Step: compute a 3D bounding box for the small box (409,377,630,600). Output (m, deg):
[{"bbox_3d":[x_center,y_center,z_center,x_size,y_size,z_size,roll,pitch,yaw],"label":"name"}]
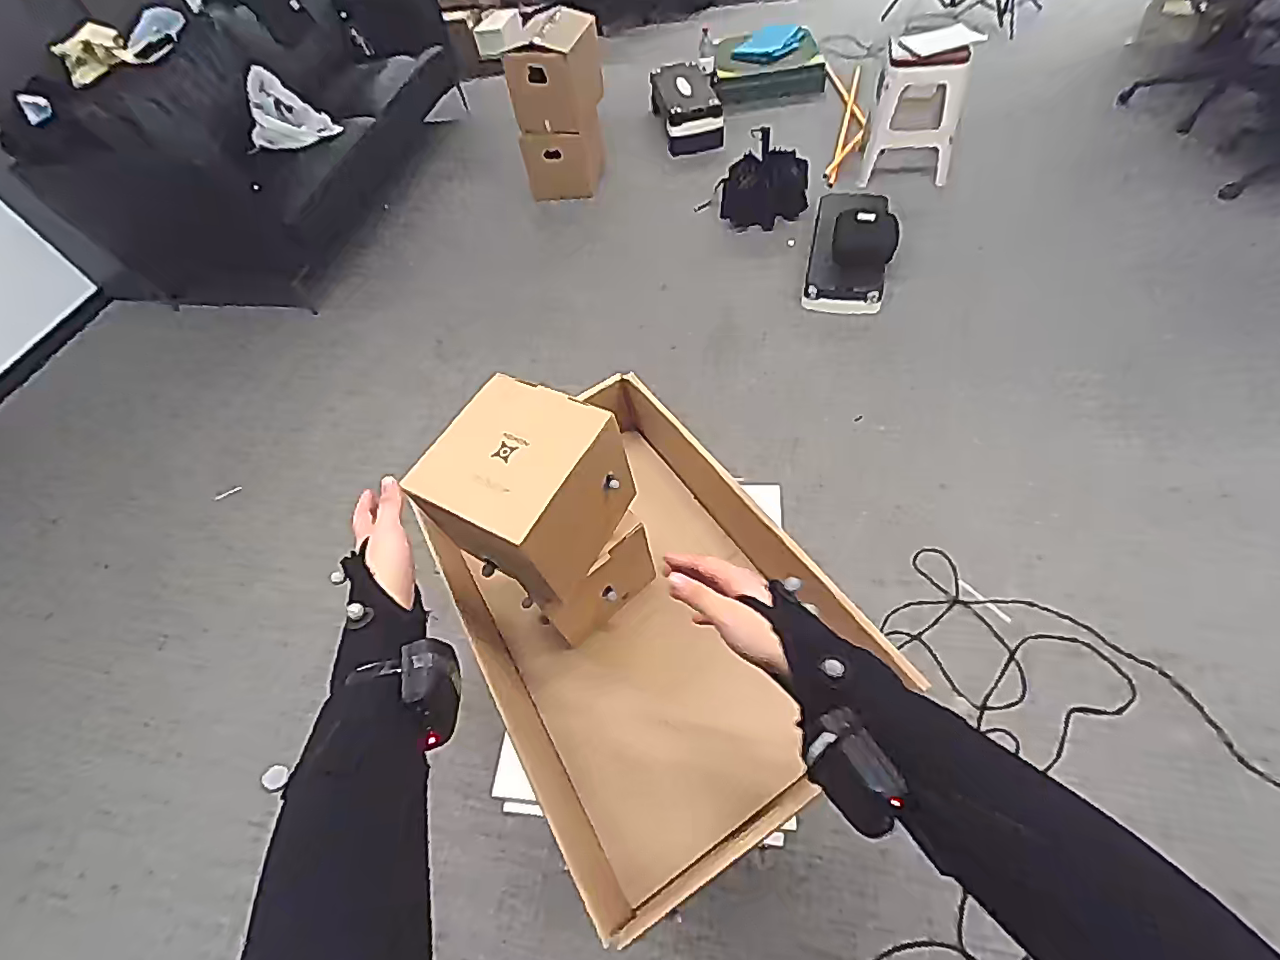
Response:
[{"bbox_3d":[-0.125,0.012,0.646,0.168,0.176,0.179,21,64,23],"label":"small box"}]
